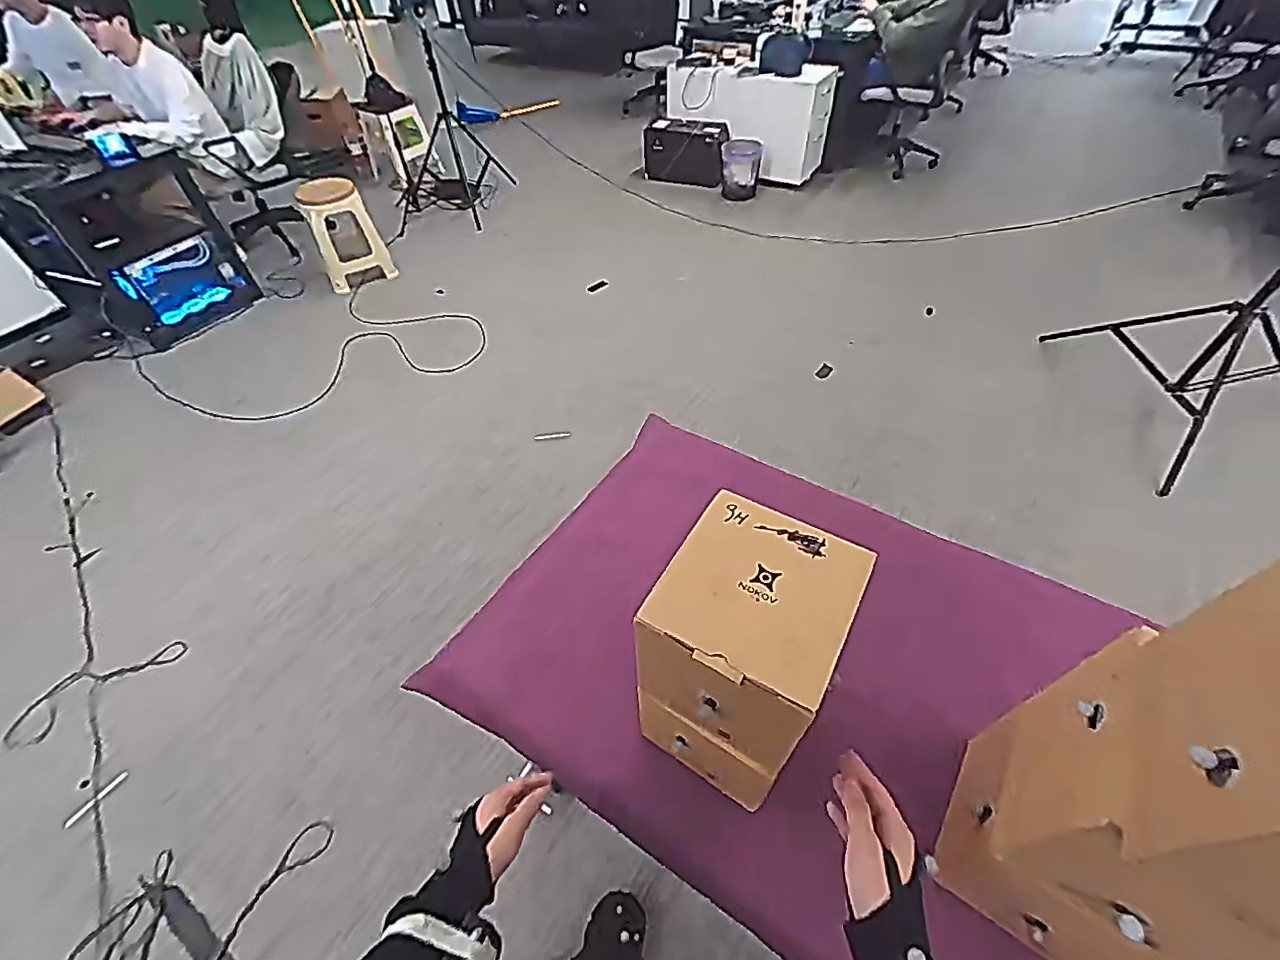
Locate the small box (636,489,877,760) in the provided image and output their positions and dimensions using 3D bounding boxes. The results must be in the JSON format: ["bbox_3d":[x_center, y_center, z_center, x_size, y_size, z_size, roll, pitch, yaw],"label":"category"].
[{"bbox_3d":[0.113,0.148,0.549,0.168,0.176,0.179,24,54,21],"label":"small box"}]

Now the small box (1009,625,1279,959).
[{"bbox_3d":[0.435,0.259,0.434,0.168,0.176,0.179,27,56,24],"label":"small box"}]

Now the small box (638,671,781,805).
[{"bbox_3d":[0.115,0.261,0.667,0.168,0.176,0.179,26,54,23],"label":"small box"}]

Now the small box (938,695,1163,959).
[{"bbox_3d":[0.436,0.368,0.557,0.168,0.176,0.179,28,55,24],"label":"small box"}]
